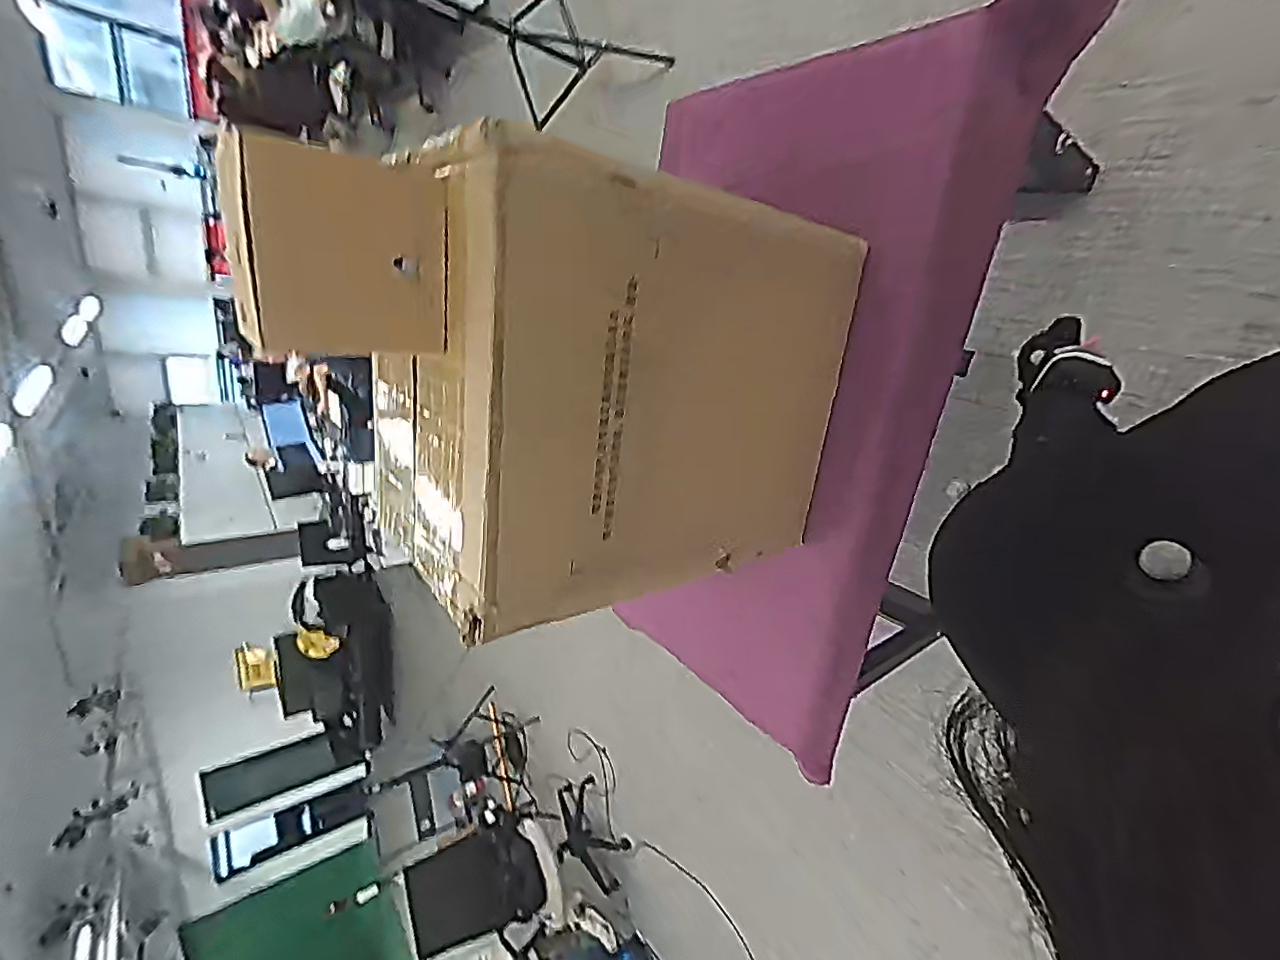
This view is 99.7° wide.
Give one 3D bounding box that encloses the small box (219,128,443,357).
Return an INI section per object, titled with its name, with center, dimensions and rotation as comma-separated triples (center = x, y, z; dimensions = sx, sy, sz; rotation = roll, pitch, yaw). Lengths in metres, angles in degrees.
[small box]
center = -0.312, -0.229, 0.557
dimensions = 0.168, 0.176, 0.179
rotation = 27, 116, 45
